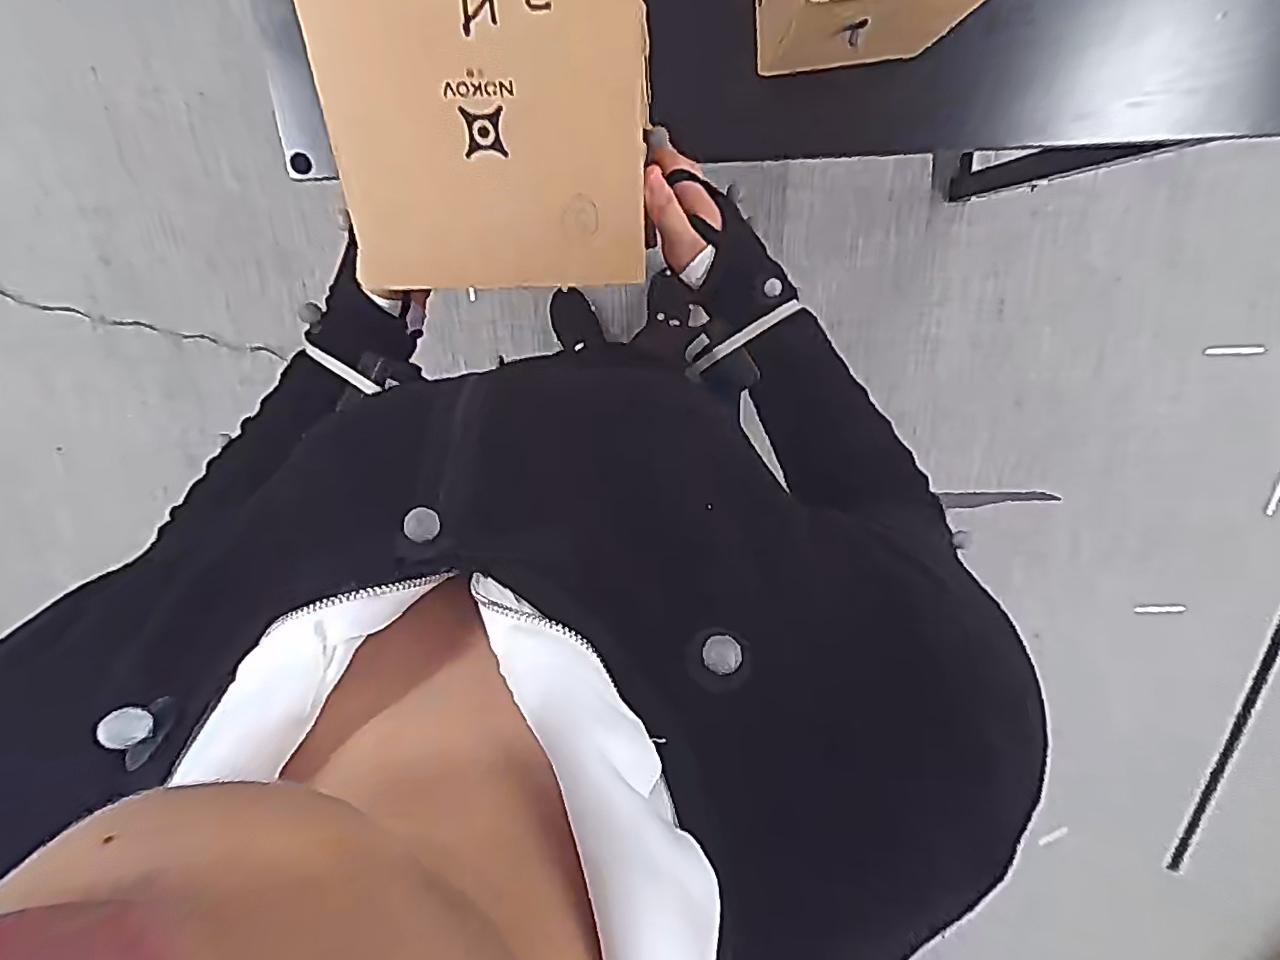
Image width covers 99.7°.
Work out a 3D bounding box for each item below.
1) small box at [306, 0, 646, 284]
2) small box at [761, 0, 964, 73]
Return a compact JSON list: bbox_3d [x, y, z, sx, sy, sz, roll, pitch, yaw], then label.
[{"bbox_3d":[-0.079,-0.234,0.352,0.168,0.176,0.179,-1,119,0],"label":"small box"},{"bbox_3d":[0.208,-0.505,0.493,0.179,0.176,0.168,-6,109,3],"label":"small box"}]
